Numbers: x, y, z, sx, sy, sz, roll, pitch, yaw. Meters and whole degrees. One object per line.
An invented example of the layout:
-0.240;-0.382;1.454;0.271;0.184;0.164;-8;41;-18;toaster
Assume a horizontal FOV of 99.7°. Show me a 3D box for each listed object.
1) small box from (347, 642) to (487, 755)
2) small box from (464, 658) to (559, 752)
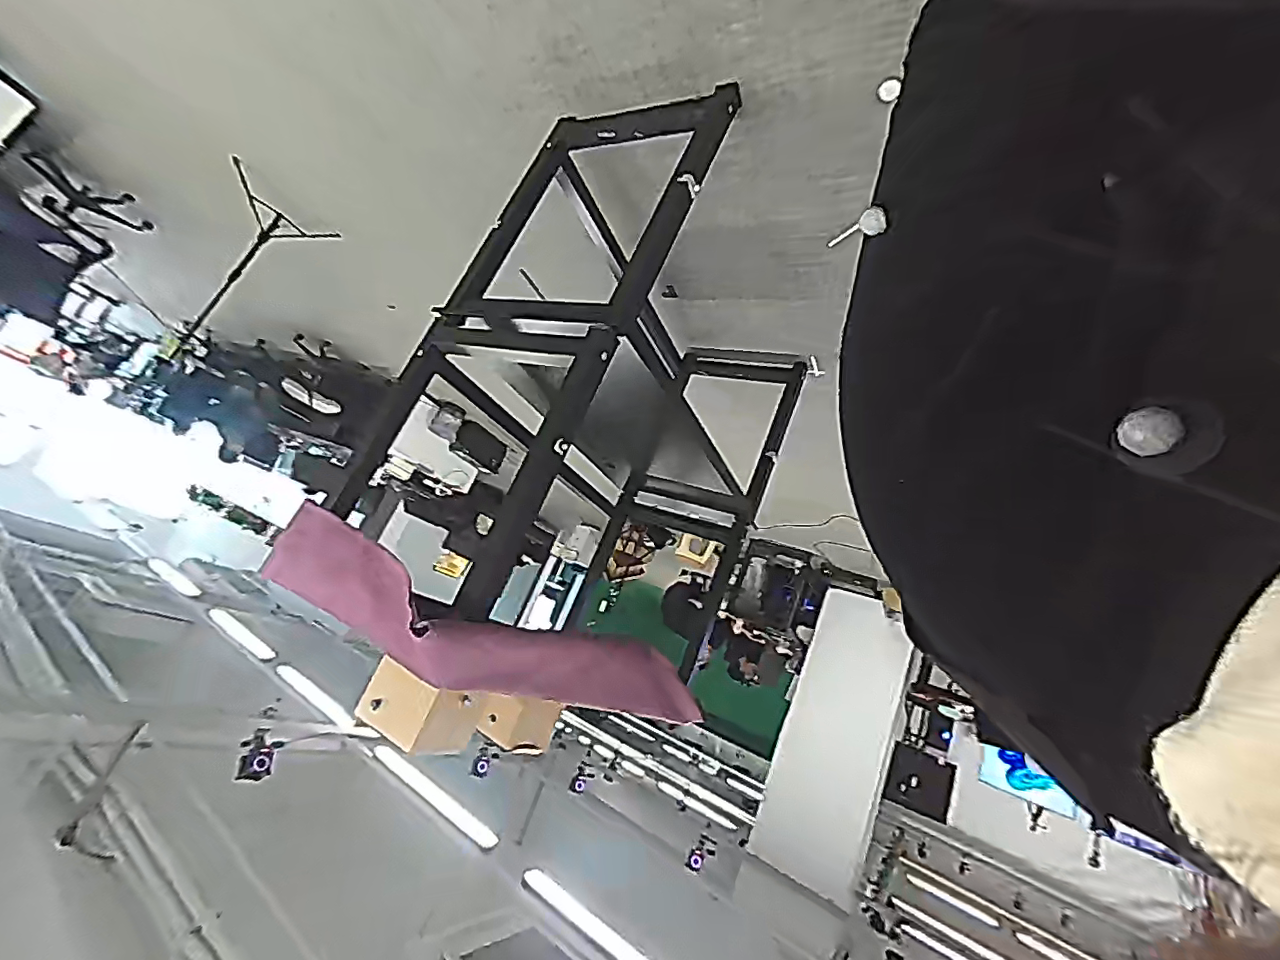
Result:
-0.454;0.447;1.125;0.179;0.176;0.168;16;163;28;small box
-0.333;0.581;1.404;0.179;0.176;0.168;13;161;36;small box
